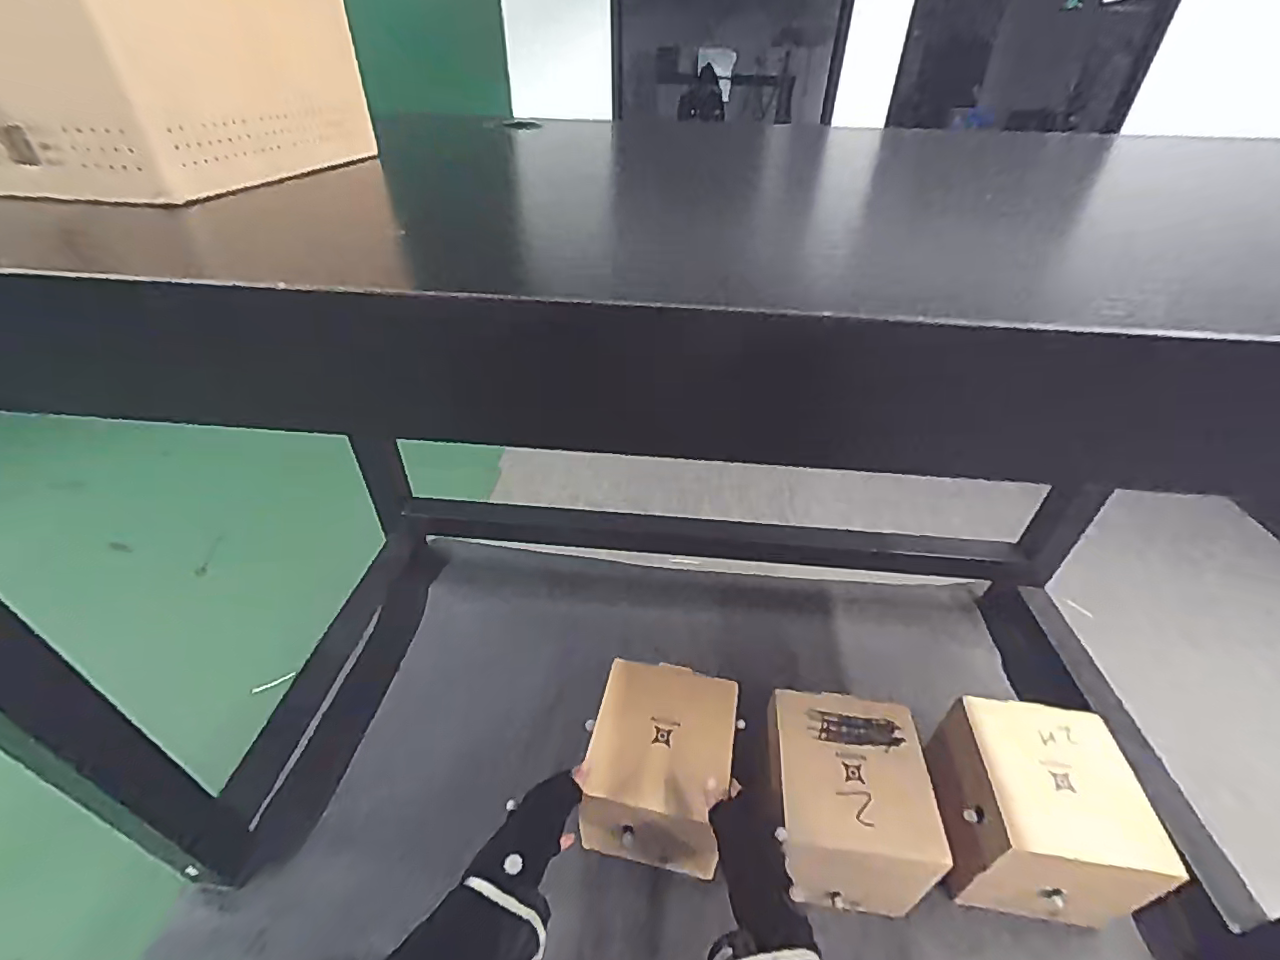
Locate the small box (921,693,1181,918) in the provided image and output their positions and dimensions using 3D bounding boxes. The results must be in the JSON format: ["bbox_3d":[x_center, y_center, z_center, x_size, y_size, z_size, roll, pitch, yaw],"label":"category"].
[{"bbox_3d":[0.469,0.393,0.656,0.168,0.176,0.179,6,37,7],"label":"small box"}]

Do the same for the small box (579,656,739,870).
[{"bbox_3d":[0.029,0.361,0.692,0.168,0.176,0.179,8,38,9],"label":"small box"}]
